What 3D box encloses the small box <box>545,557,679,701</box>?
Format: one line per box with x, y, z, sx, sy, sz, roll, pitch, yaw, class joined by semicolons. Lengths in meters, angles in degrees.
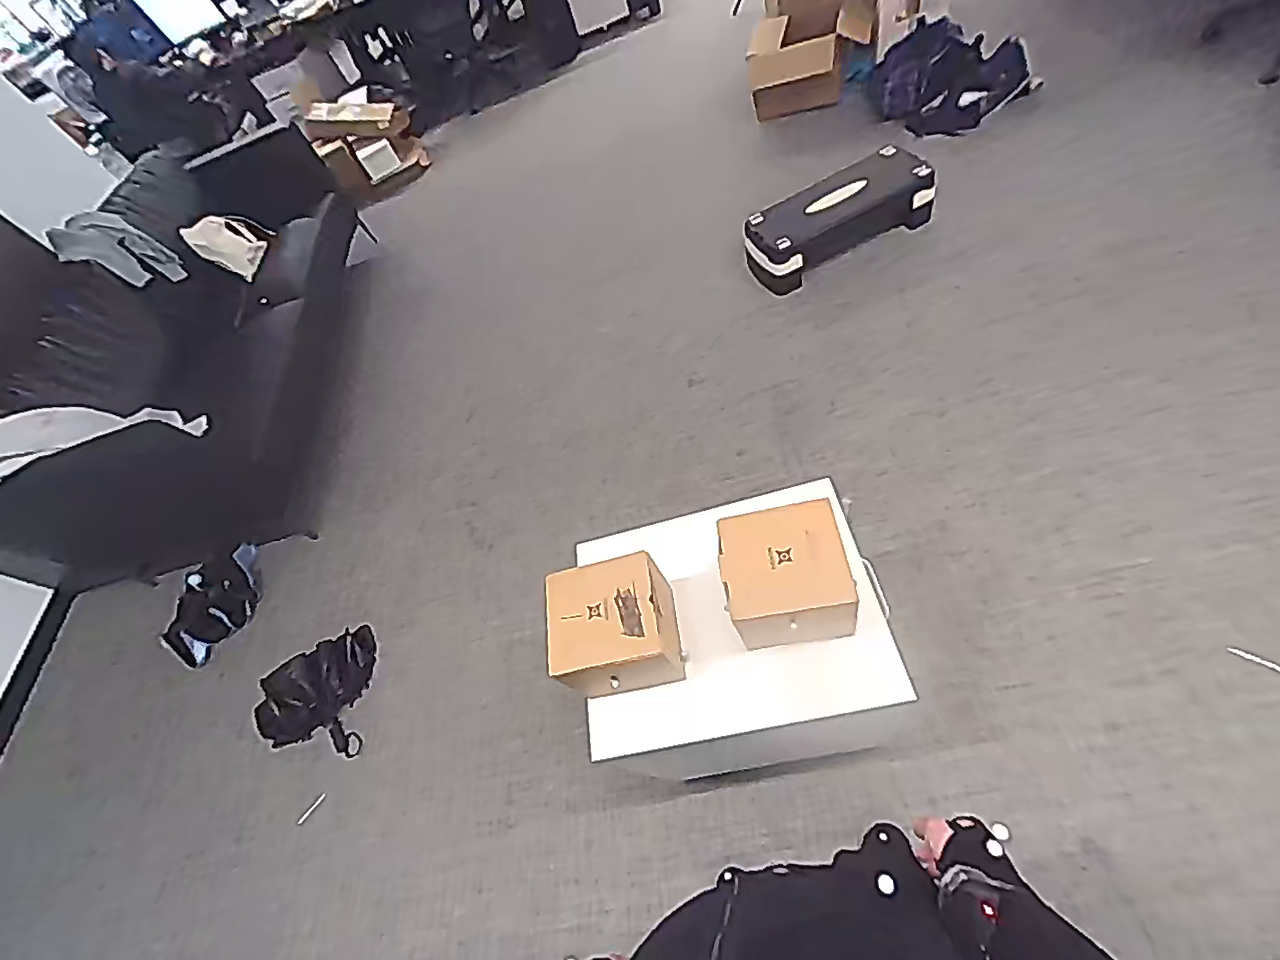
-0.041;0.249;0.885;0.179;0.176;0.168;-15;54;10;small box

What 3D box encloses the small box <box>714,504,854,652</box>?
0.225;0.161;0.849;0.179;0.176;0.168;-12;57;12;small box
